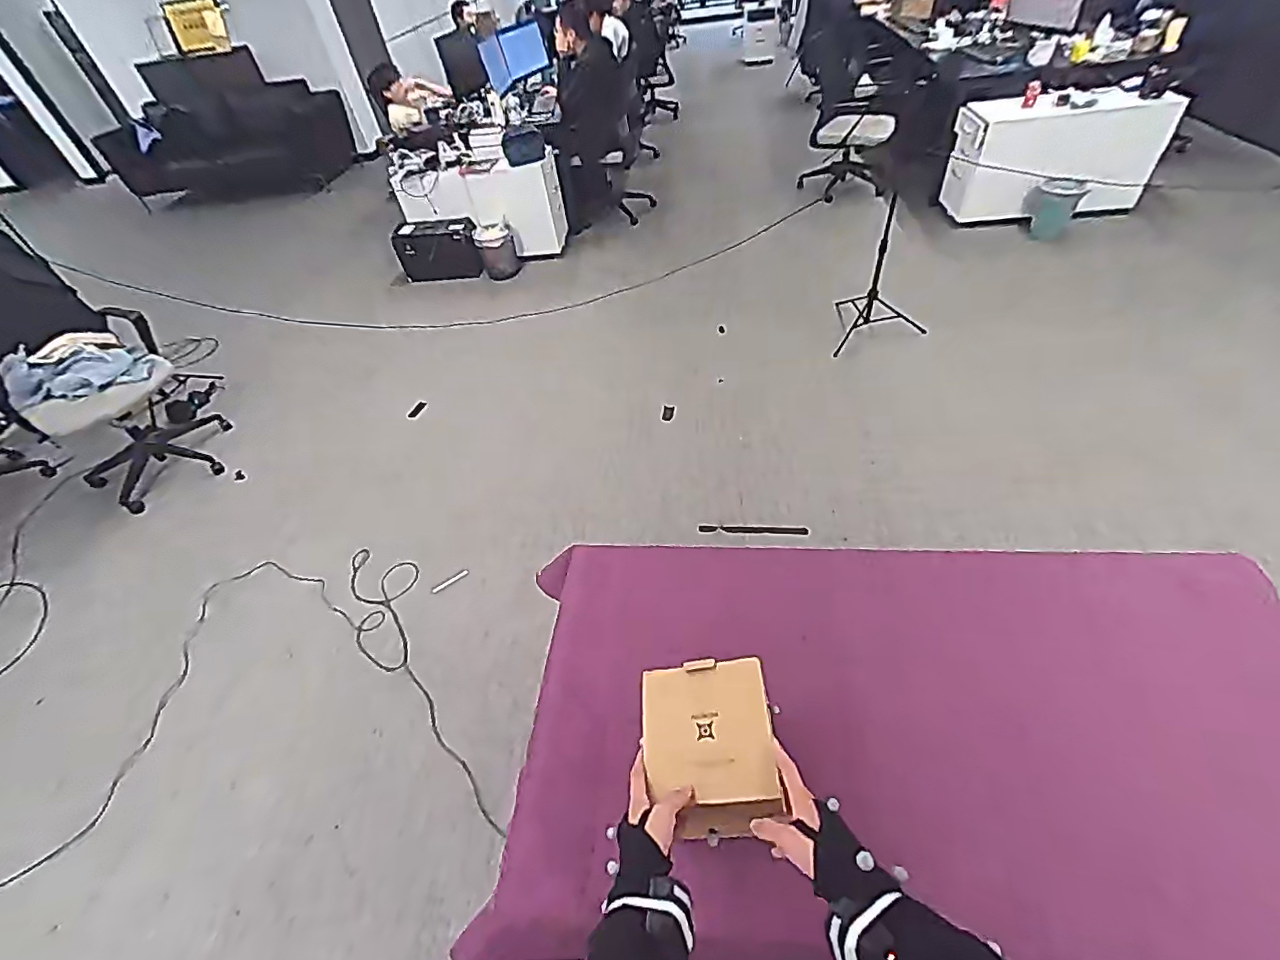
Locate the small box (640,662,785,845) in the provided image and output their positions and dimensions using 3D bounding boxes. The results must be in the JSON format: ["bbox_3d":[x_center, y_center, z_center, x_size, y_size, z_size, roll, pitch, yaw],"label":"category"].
[{"bbox_3d":[0.099,0.374,0.737,0.168,0.176,0.179,-10,44,10],"label":"small box"}]
